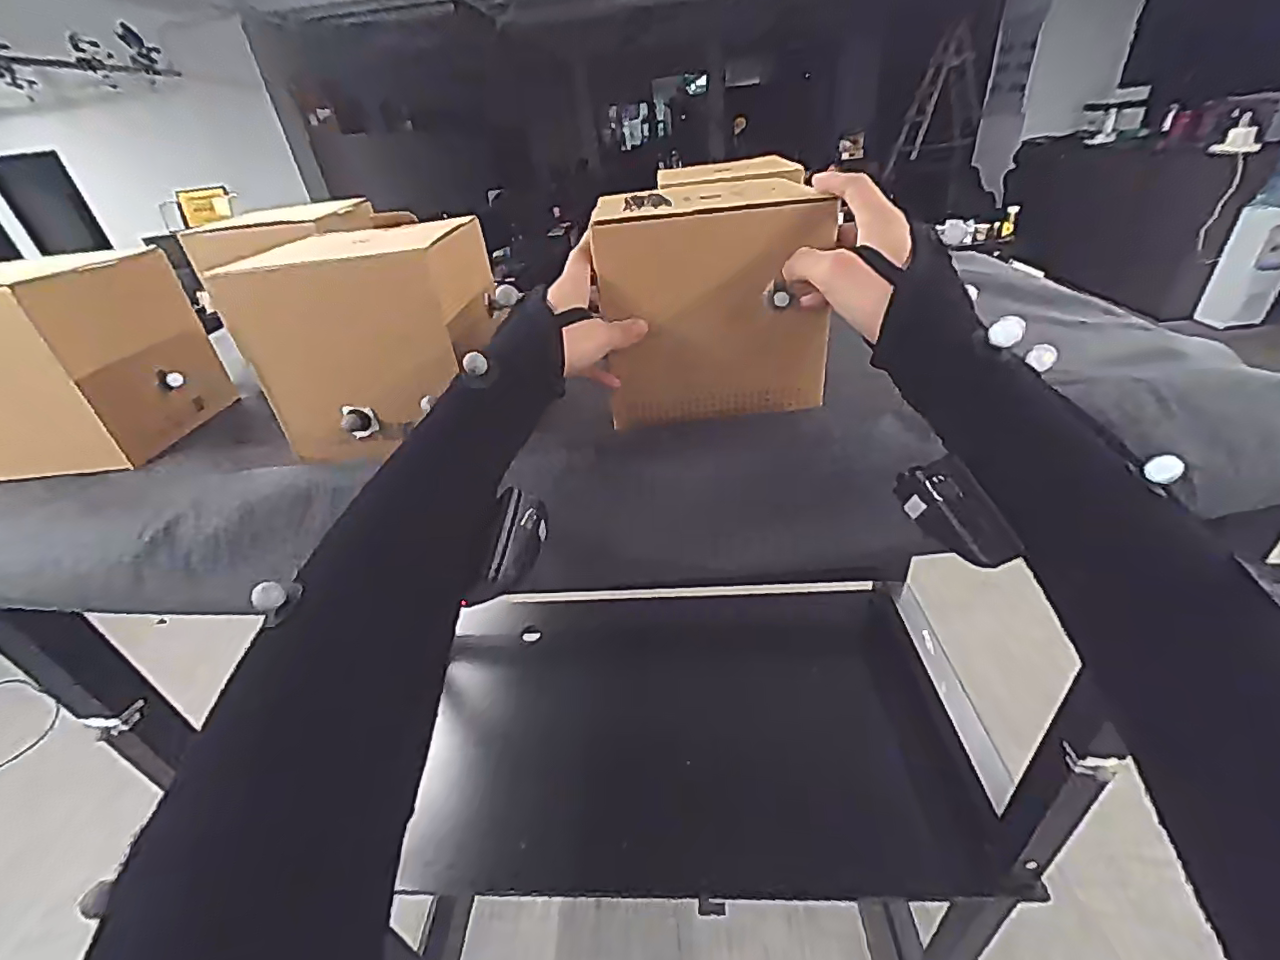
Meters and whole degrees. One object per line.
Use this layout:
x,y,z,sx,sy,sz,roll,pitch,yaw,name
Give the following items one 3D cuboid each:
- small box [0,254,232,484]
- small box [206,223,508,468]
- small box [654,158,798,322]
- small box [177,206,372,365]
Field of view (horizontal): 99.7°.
-0.559,-0.107,0.522,0.179,0.176,0.168,-5,33,1,small box
-0.228,-0.128,0.499,0.168,0.176,0.179,-7,32,1,small box
0.109,-0.316,0.720,0.168,0.176,0.179,-4,34,4,small box
-0.466,-0.272,0.756,0.179,0.176,0.168,-4,34,2,small box
